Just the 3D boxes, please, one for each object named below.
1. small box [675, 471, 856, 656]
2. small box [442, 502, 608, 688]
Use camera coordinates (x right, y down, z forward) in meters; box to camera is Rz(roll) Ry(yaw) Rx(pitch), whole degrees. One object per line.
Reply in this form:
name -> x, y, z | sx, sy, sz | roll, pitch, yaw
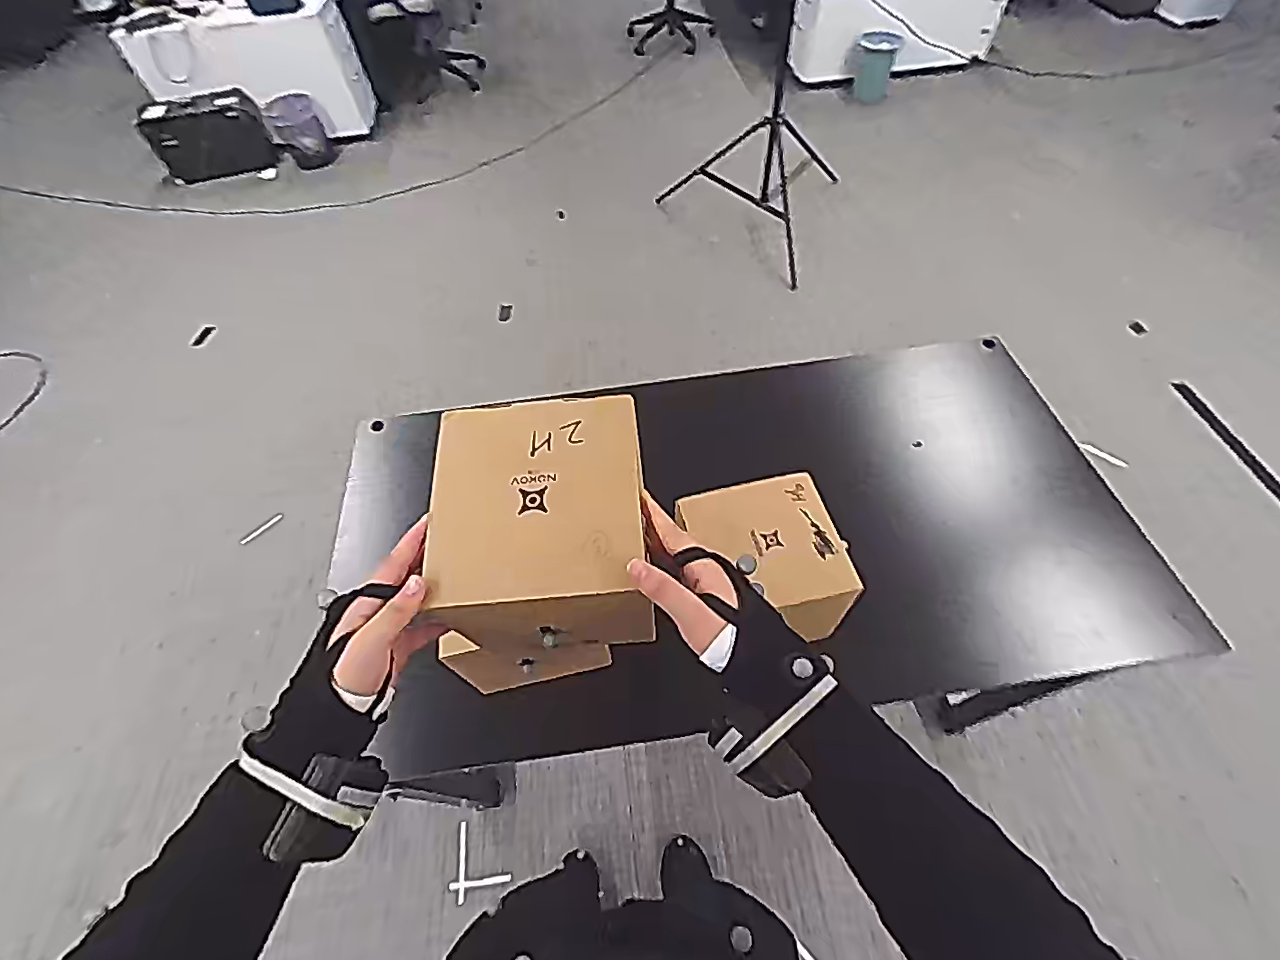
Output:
small box -> 0.151, 0.116, 0.710 | 0.179, 0.176, 0.168 | -12, 56, -4
small box -> -0.142, 0.154, 0.703 | 0.179, 0.176, 0.168 | -13, 56, -4
